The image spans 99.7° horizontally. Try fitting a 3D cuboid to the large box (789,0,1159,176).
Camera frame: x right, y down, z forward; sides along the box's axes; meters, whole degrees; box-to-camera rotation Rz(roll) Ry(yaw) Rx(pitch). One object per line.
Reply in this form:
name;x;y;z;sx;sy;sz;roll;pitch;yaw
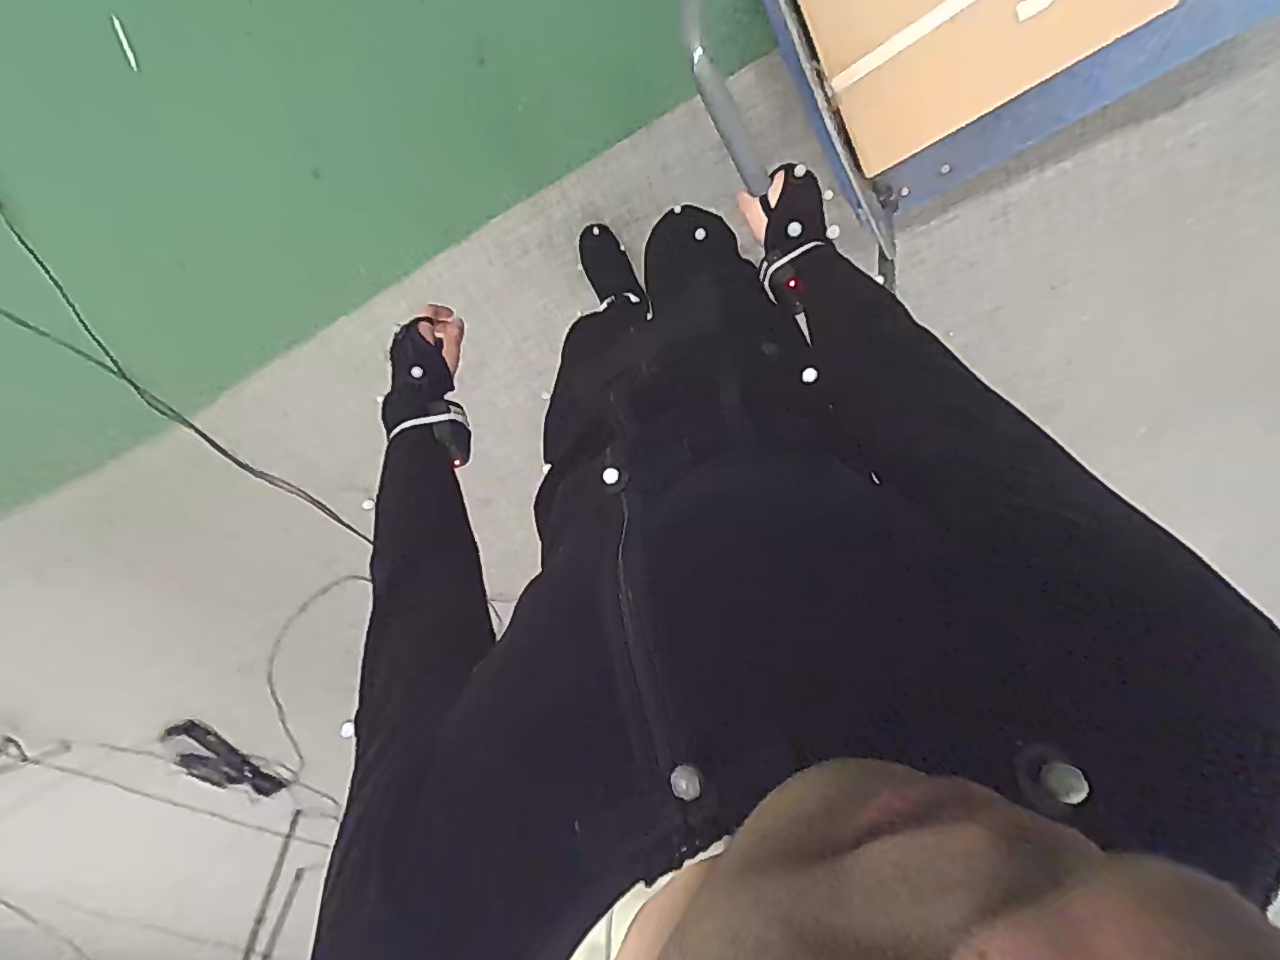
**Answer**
large box;0.492;-0.779;0.868;0.408;0.320;0.320;-21;121;32
